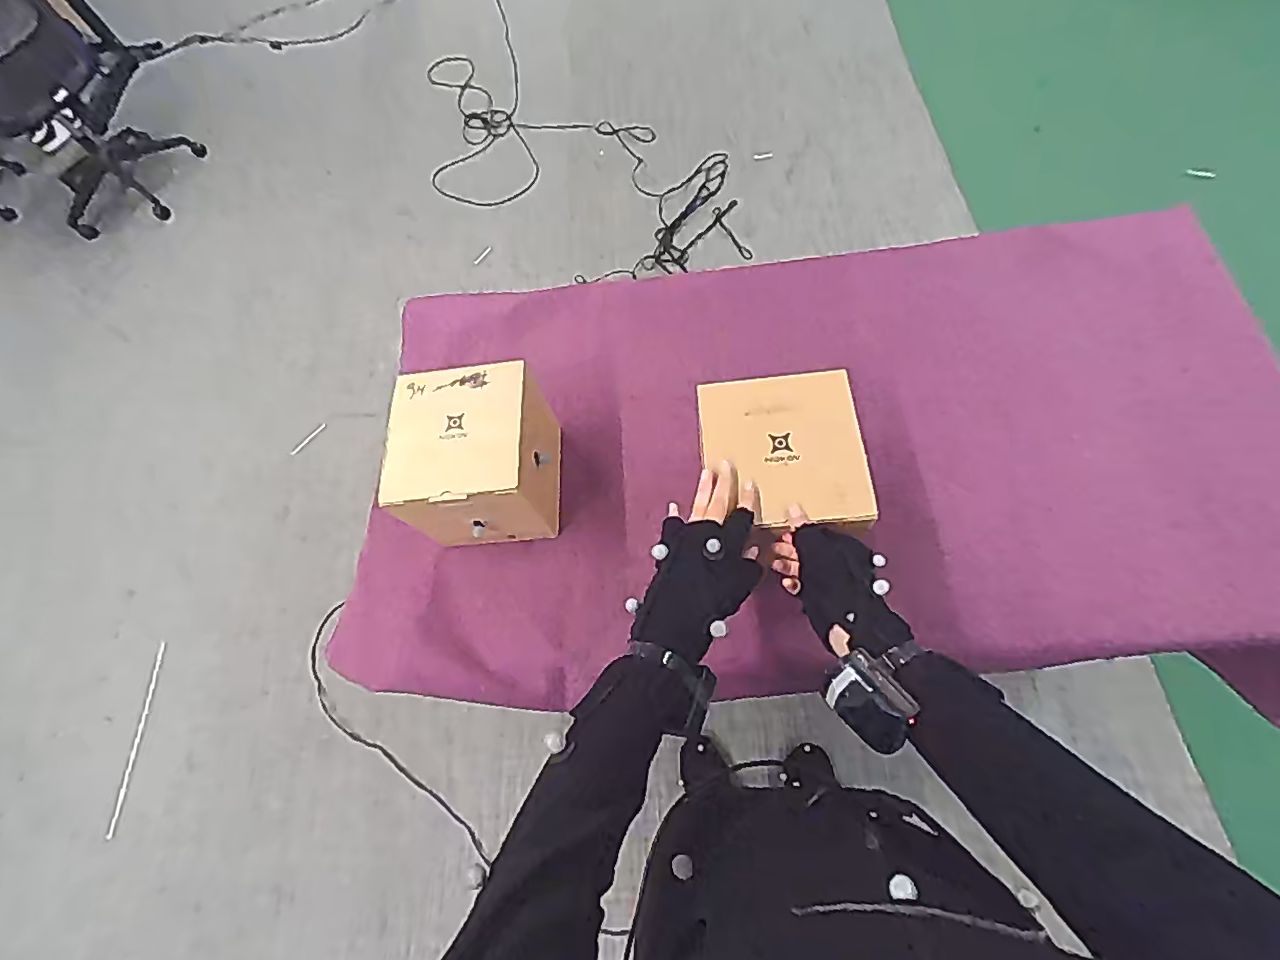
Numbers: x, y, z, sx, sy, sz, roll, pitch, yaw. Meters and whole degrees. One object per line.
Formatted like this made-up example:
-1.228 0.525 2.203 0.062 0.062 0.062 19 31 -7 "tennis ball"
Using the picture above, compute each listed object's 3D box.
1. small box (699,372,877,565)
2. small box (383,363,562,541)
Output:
0.161 -0.001 0.639 0.168 0.176 0.179 -5 65 6 "small box"
-0.202 -0.024 0.704 0.168 0.176 0.179 -6 66 6 "small box"
